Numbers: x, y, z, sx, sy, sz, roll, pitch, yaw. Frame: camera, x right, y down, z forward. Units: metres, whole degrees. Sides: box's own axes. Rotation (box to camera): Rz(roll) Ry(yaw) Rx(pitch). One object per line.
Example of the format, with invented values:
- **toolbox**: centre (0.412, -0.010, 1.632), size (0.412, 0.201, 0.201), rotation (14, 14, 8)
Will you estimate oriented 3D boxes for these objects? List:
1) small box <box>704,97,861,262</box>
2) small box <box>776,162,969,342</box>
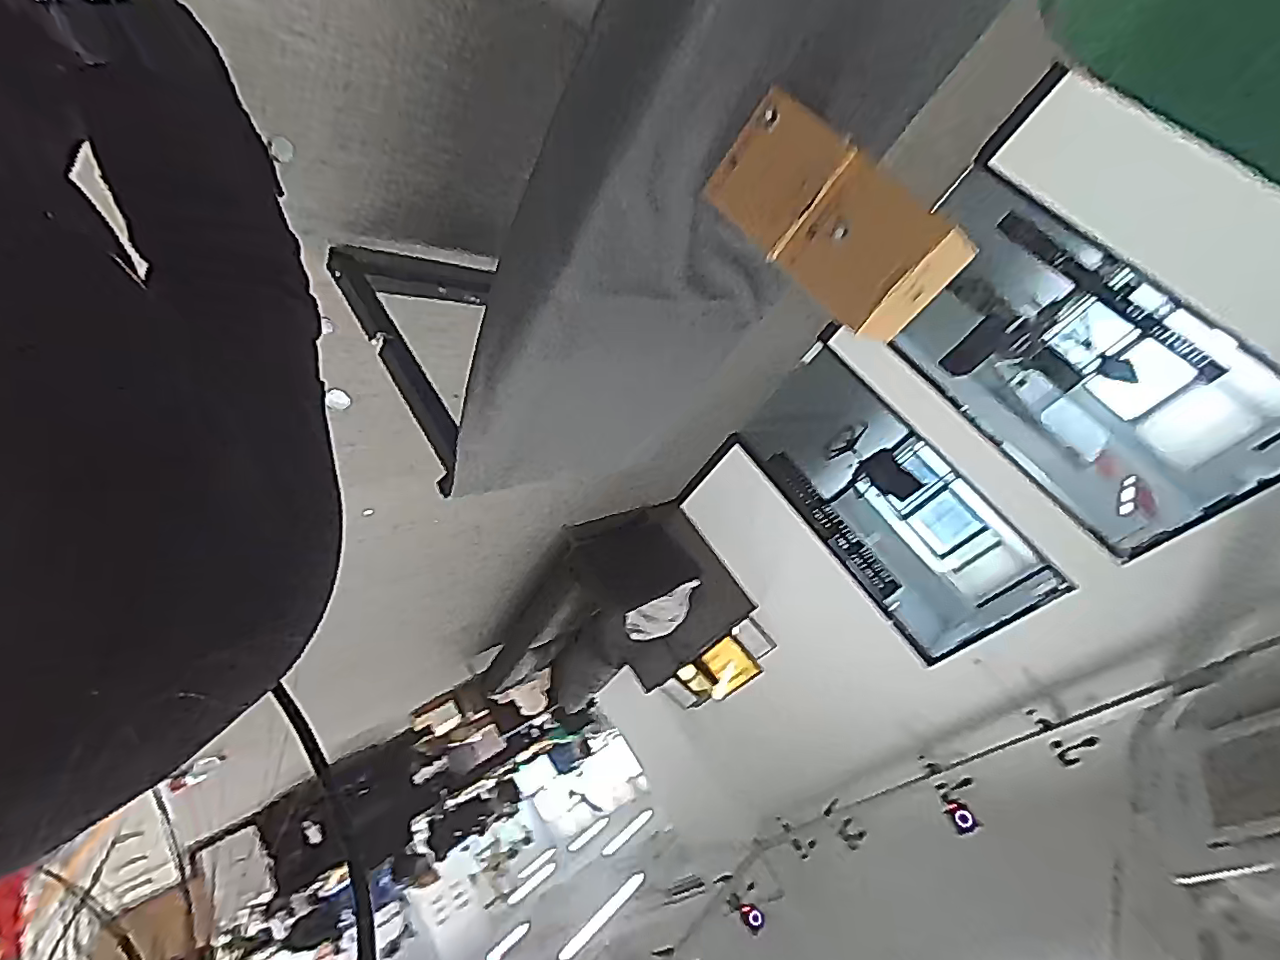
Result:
- **small box**: centre (0.231, -0.445, 0.833), size (0.179, 0.176, 0.168), rotation (-11, 148, -52)
- **small box**: centre (0.335, -0.324, 0.788), size (0.179, 0.176, 0.168), rotation (-11, 148, -50)
